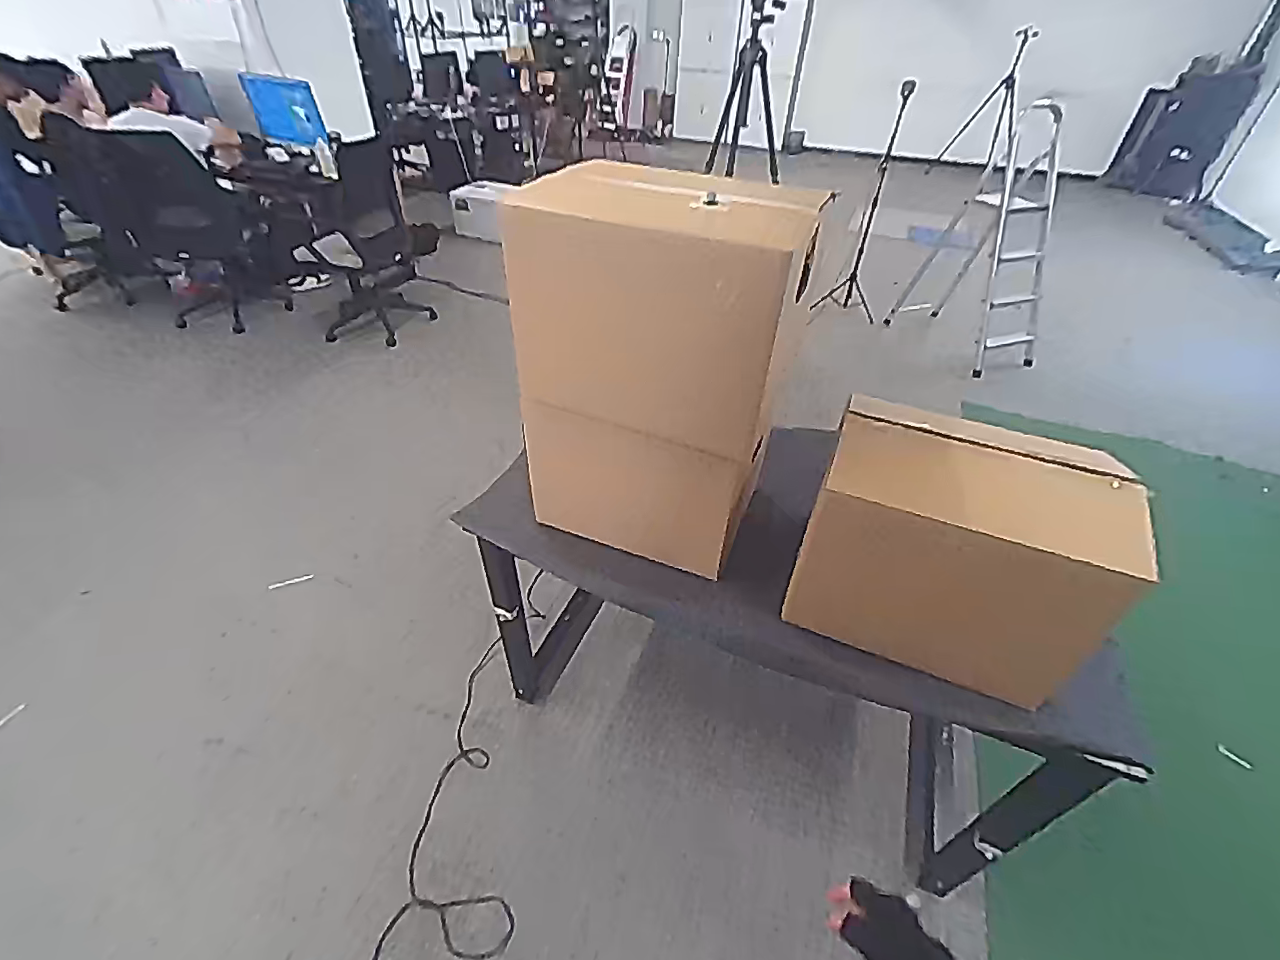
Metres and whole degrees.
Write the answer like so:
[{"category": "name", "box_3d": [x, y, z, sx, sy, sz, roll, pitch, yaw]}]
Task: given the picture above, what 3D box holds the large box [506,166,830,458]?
[{"category": "large box", "box_3d": [0.045, -0.285, 0.878, 0.408, 0.320, 0.320, 19, 44, 15]}]
